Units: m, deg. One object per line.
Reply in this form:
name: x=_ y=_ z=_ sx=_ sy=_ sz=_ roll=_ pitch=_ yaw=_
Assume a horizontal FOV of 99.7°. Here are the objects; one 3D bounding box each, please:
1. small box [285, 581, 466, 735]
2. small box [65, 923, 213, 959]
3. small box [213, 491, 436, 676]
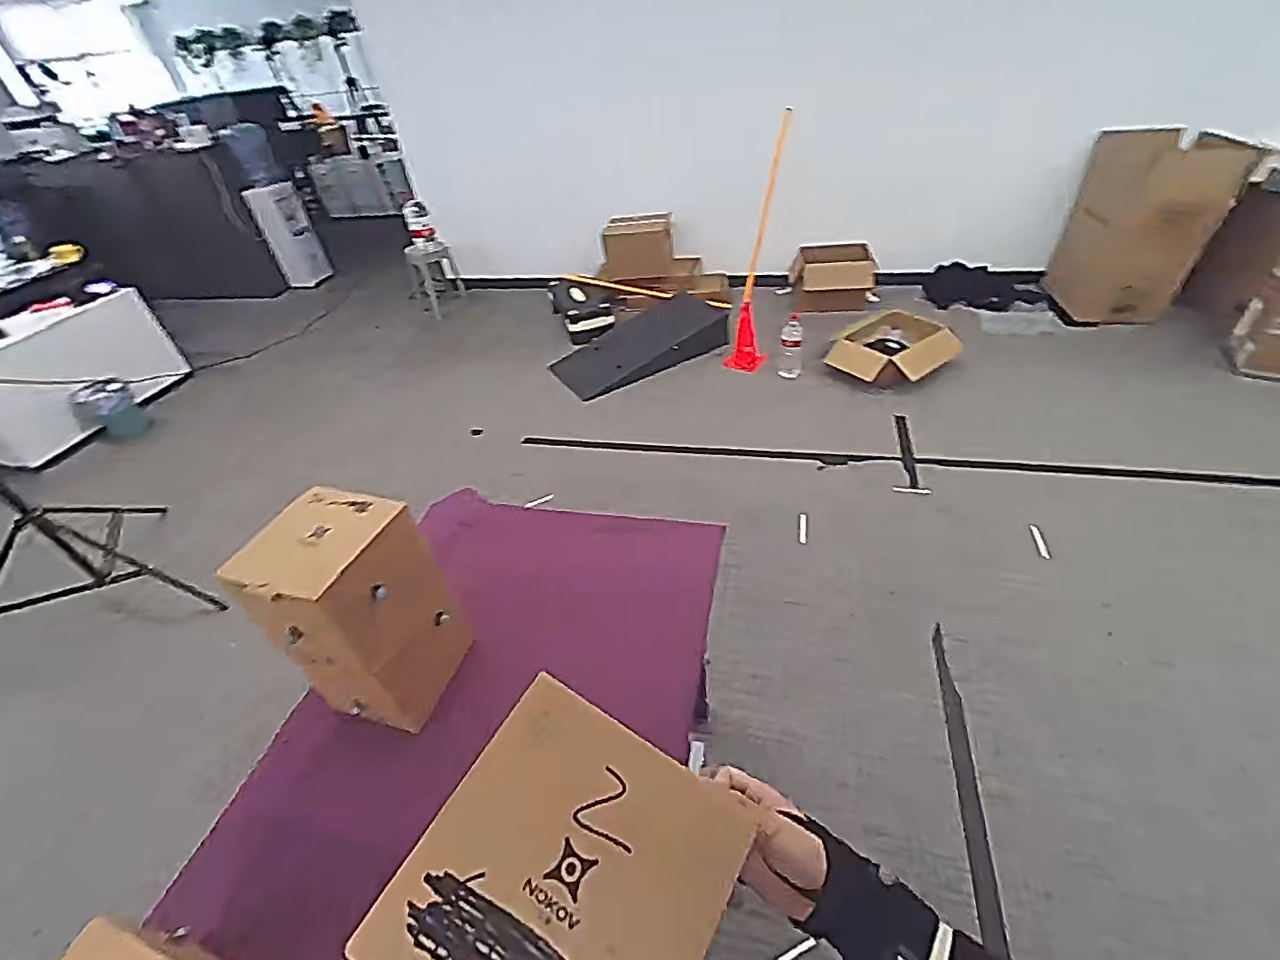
small box: x=-0.398 y=0.267 z=0.857 sx=0.168 sy=0.176 sz=0.179 roll=7 pitch=42 yaw=16
small box: x=-0.485 y=0.569 z=0.514 sx=0.179 sy=0.176 sz=0.168 roll=10 pitch=44 yaw=16
small box: x=-0.415 y=0.143 z=0.750 sx=0.168 sy=0.176 sz=0.179 roll=9 pitch=43 yaw=16
